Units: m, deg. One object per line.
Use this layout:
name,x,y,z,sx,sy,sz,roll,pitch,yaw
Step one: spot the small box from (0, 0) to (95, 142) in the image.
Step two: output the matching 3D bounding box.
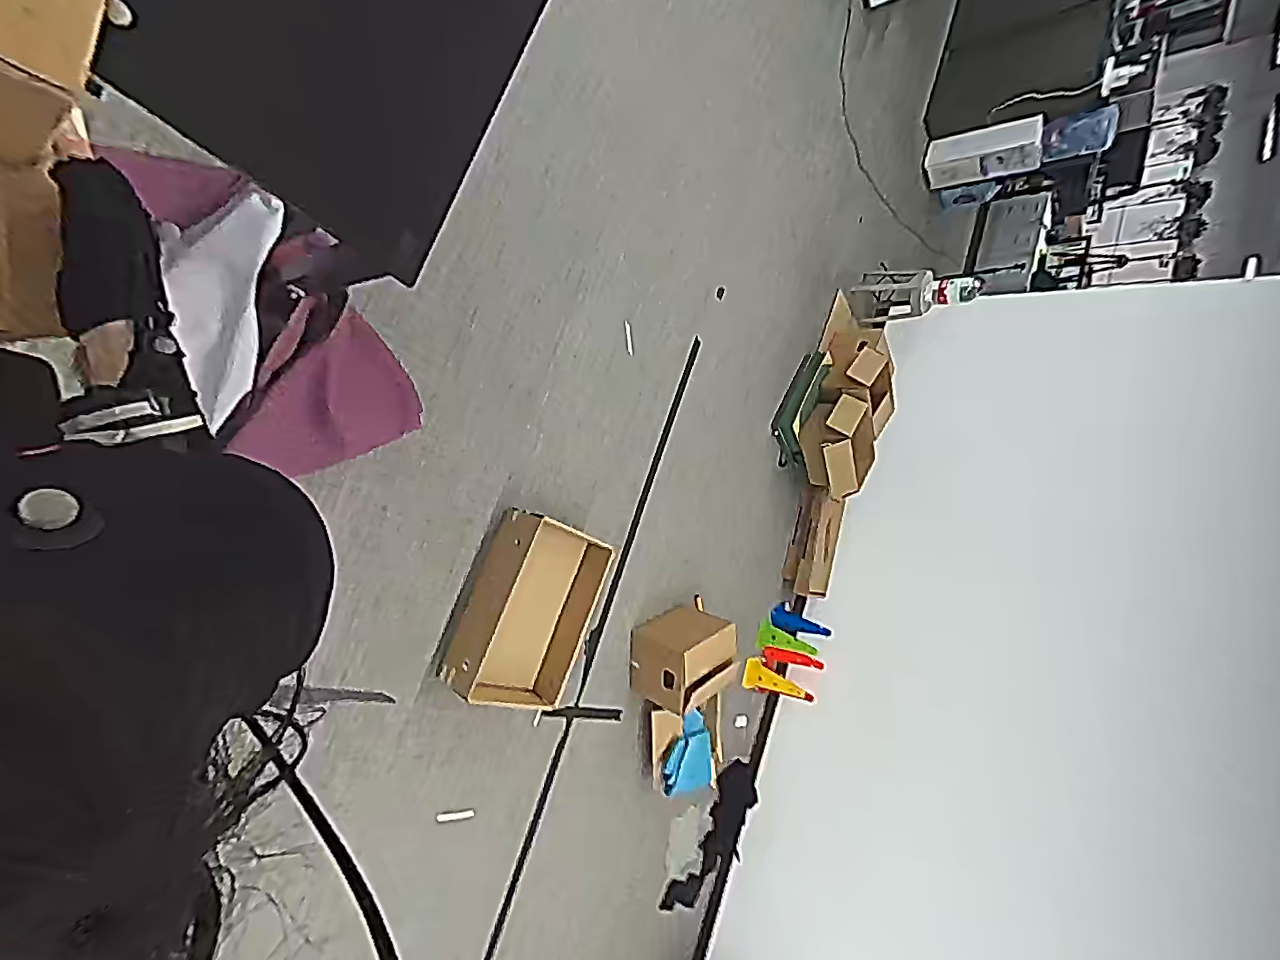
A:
small box,-0.374,-0.301,0.253,0.168,0.176,0.179,16,84,-56

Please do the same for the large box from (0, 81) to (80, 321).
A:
large box,-0.643,-0.280,0.300,0.408,0.320,0.320,-6,104,-56
